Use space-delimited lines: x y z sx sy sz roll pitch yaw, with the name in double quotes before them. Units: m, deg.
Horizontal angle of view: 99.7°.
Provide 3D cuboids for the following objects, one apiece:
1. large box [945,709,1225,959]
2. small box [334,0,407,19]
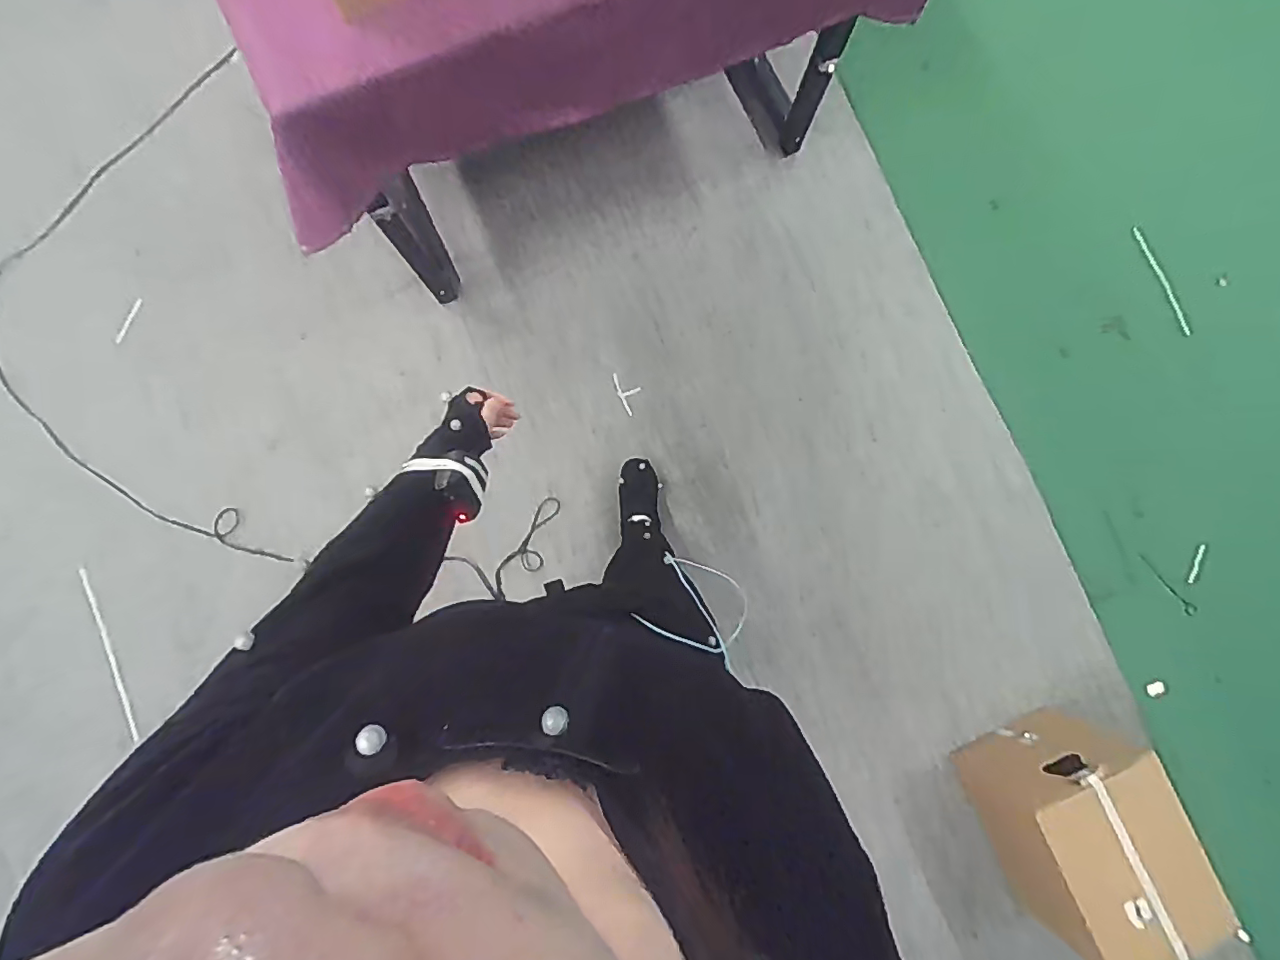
"large box" 1.045 0.853 1.320 0.320 0.320 0.408 -23 86 -5
"small box" -0.413 -0.836 0.784 0.179 0.176 0.168 -23 85 -4
